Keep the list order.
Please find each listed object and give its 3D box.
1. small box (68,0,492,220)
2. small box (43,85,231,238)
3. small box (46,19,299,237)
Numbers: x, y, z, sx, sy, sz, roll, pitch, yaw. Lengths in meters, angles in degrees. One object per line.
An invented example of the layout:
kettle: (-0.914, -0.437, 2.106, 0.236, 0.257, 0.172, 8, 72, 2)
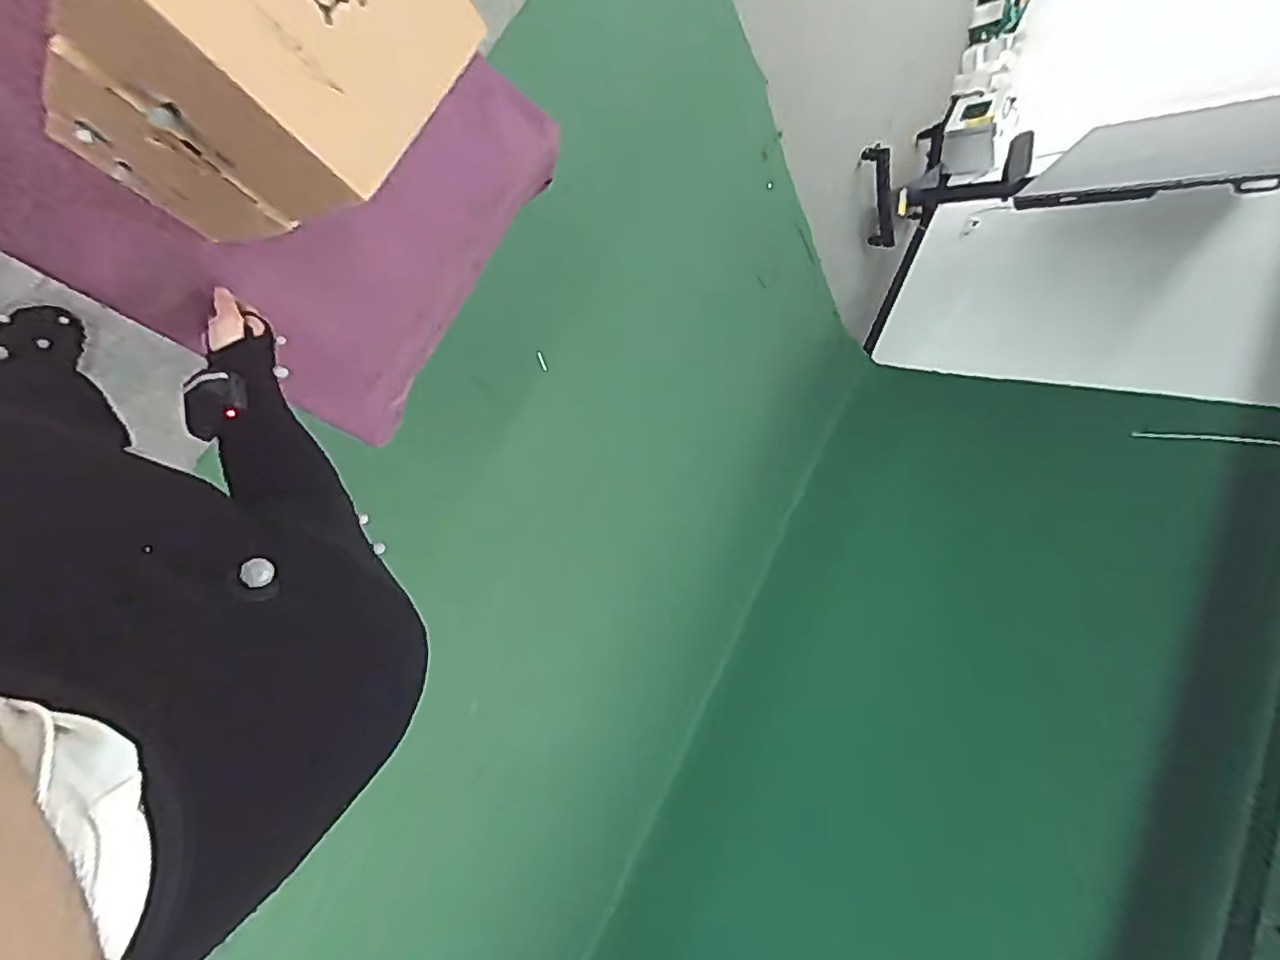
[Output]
small box: (-0.248, -0.315, 0.381, 0.168, 0.176, 0.179, 41, 71, -48)
small box: (-0.490, -0.389, 0.590, 0.168, 0.176, 0.179, 37, 74, -49)
small box: (-0.371, -0.345, 0.485, 0.168, 0.176, 0.179, 40, 71, -49)
